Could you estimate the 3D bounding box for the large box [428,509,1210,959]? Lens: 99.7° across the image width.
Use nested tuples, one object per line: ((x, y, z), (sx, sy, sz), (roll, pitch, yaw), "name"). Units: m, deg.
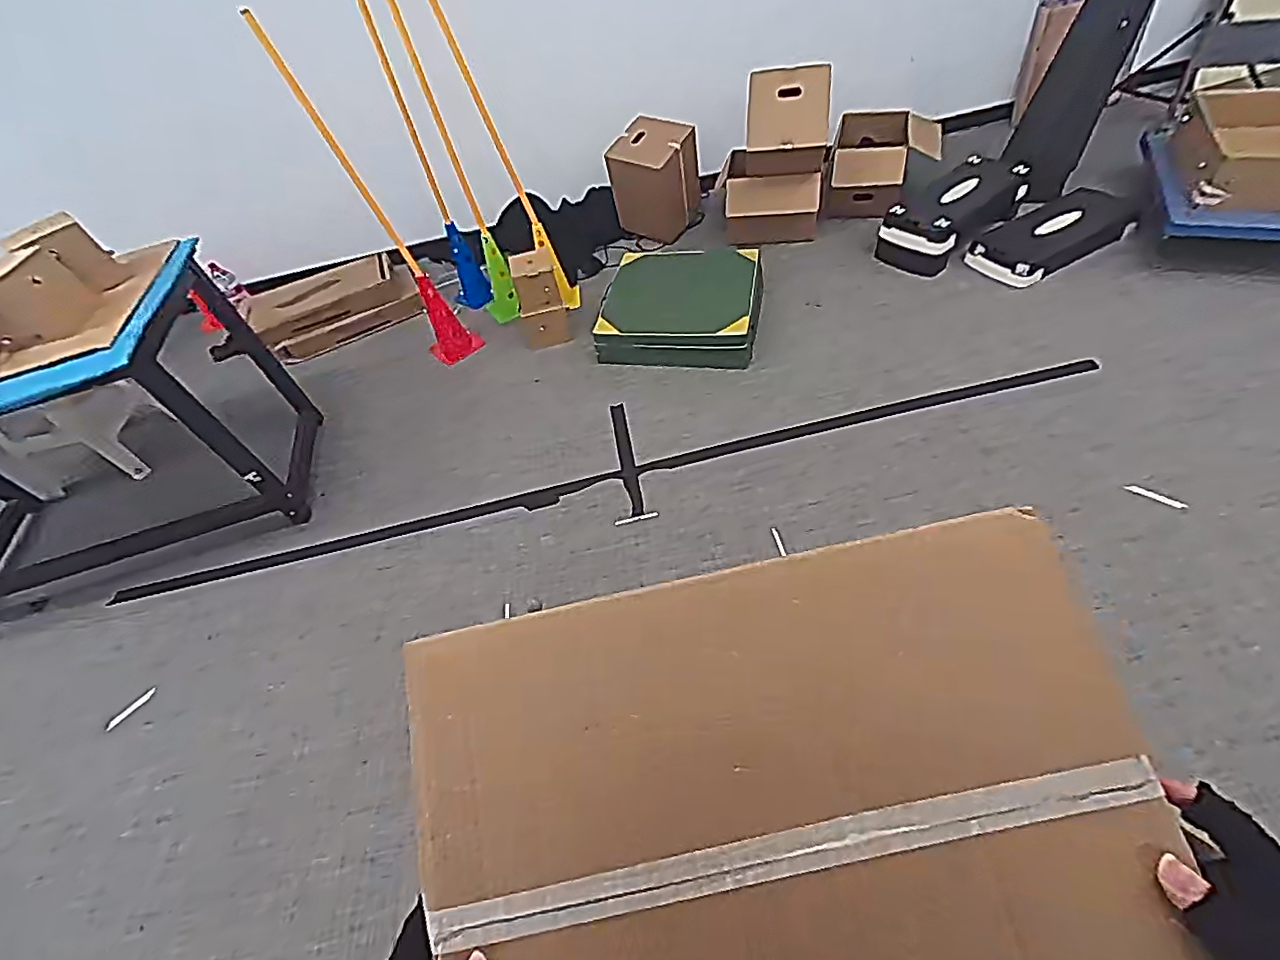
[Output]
((0.094, 0.250, 0.454), (0.408, 0.320, 0.320), (-13, 74, 1), "large box")
